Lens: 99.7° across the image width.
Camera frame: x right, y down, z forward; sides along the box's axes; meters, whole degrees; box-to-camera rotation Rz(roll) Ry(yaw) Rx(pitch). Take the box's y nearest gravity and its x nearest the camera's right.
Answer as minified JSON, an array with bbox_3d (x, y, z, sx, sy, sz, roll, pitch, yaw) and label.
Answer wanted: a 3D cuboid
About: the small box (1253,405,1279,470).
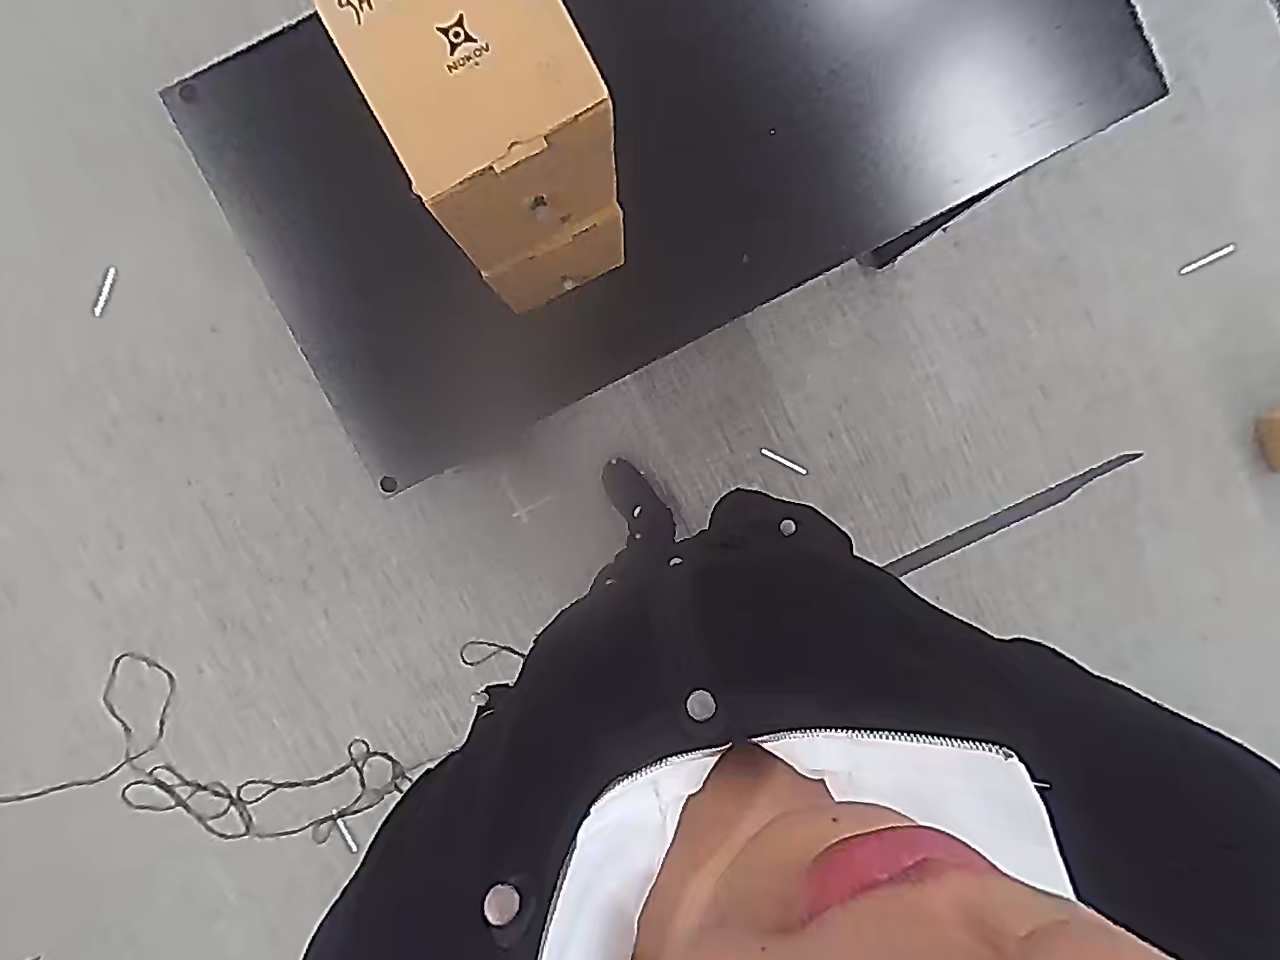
[{"bbox_3d":[1.816,-0.128,1.442,0.168,0.176,0.179,-24,96,1],"label":"small box"}]

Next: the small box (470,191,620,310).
[{"bbox_3d":[-0.133,-0.333,0.651,0.168,0.176,0.179,-26,94,1],"label":"small box"}]

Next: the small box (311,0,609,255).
[{"bbox_3d":[-0.136,-0.328,0.487,0.168,0.176,0.179,-28,95,1],"label":"small box"}]
